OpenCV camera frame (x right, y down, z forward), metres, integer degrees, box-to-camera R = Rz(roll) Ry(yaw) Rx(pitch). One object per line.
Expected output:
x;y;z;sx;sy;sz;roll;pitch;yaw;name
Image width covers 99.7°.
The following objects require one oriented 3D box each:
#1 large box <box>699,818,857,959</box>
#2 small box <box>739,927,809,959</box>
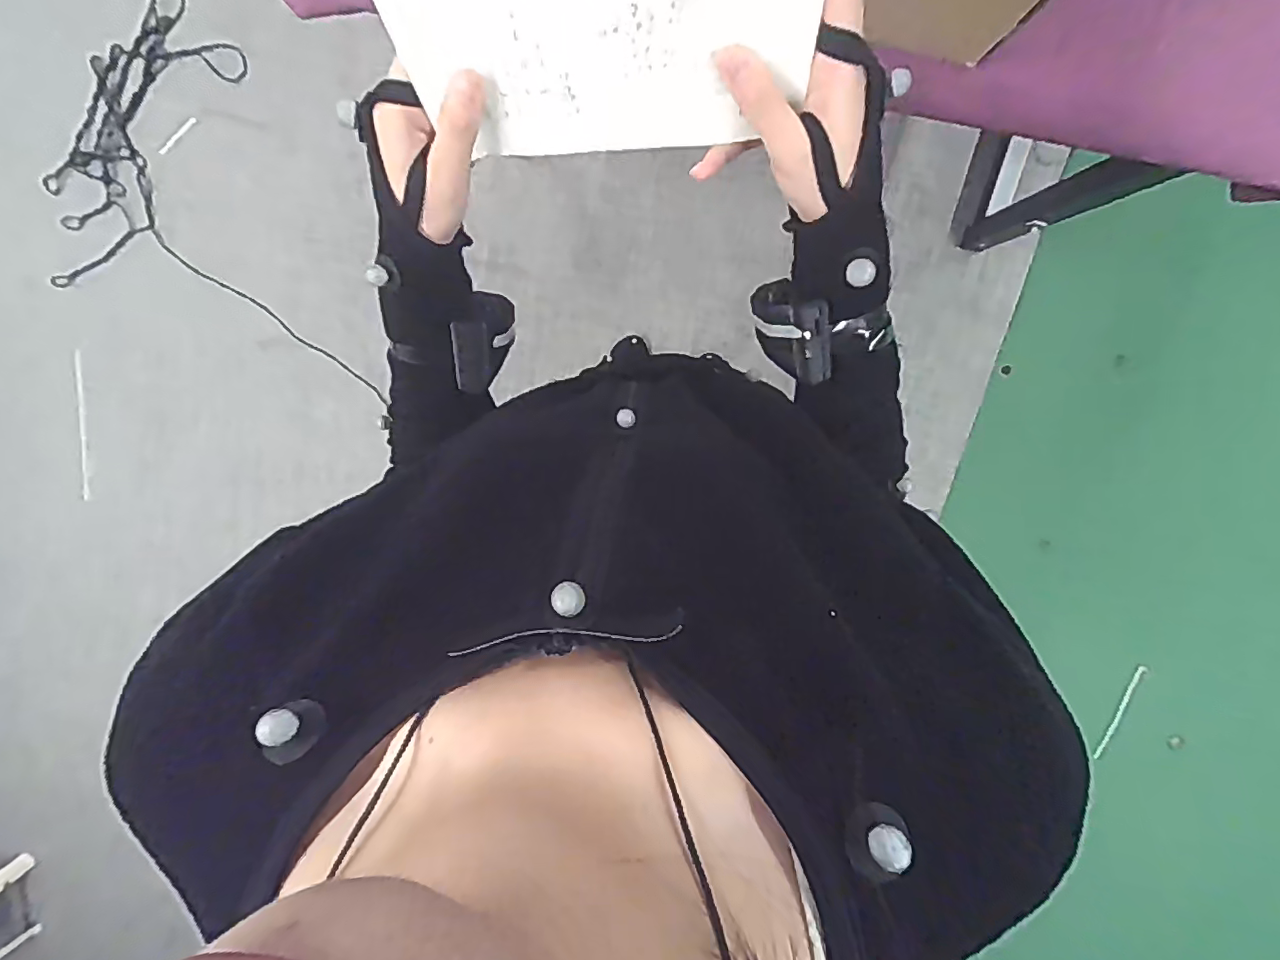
0.387;1.259;1.607;0.408;0.320;0.320;-1;103;4;large box
0.341;1.281;1.362;0.168;0.176;0.179;5;102;5;small box
